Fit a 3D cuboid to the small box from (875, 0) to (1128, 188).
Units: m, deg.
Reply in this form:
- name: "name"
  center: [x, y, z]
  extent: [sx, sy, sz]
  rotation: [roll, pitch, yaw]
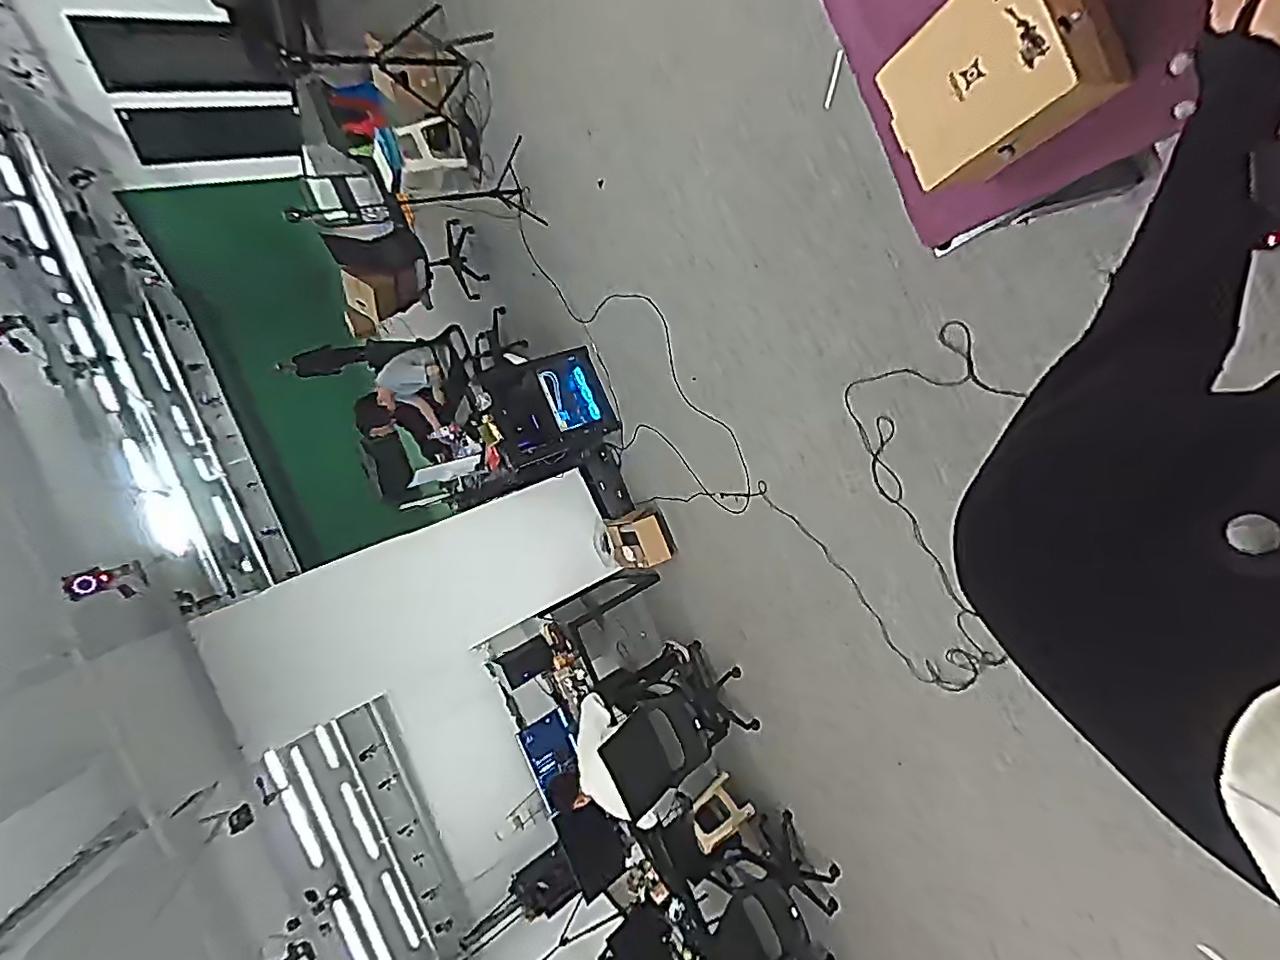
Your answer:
- name: "small box"
  center: [0.437, -0.493, 0.663]
  extent: [0.179, 0.176, 0.168]
  rotation: [-21, 93, 62]
